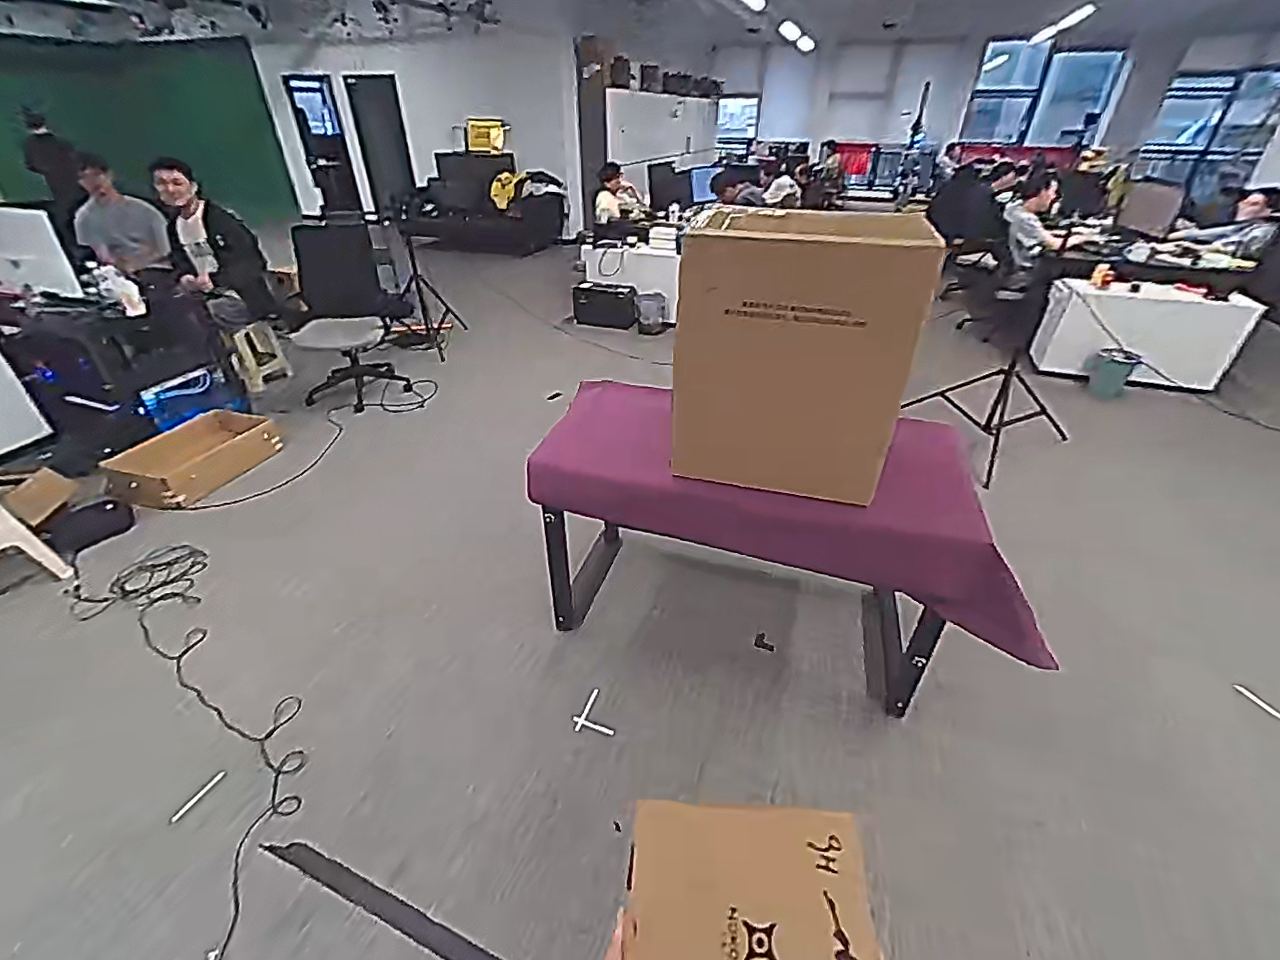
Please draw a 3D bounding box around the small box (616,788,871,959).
[{"bbox_3d":[0.080,0.367,0.443,0.179,0.176,0.168,0,50,7],"label":"small box"}]
